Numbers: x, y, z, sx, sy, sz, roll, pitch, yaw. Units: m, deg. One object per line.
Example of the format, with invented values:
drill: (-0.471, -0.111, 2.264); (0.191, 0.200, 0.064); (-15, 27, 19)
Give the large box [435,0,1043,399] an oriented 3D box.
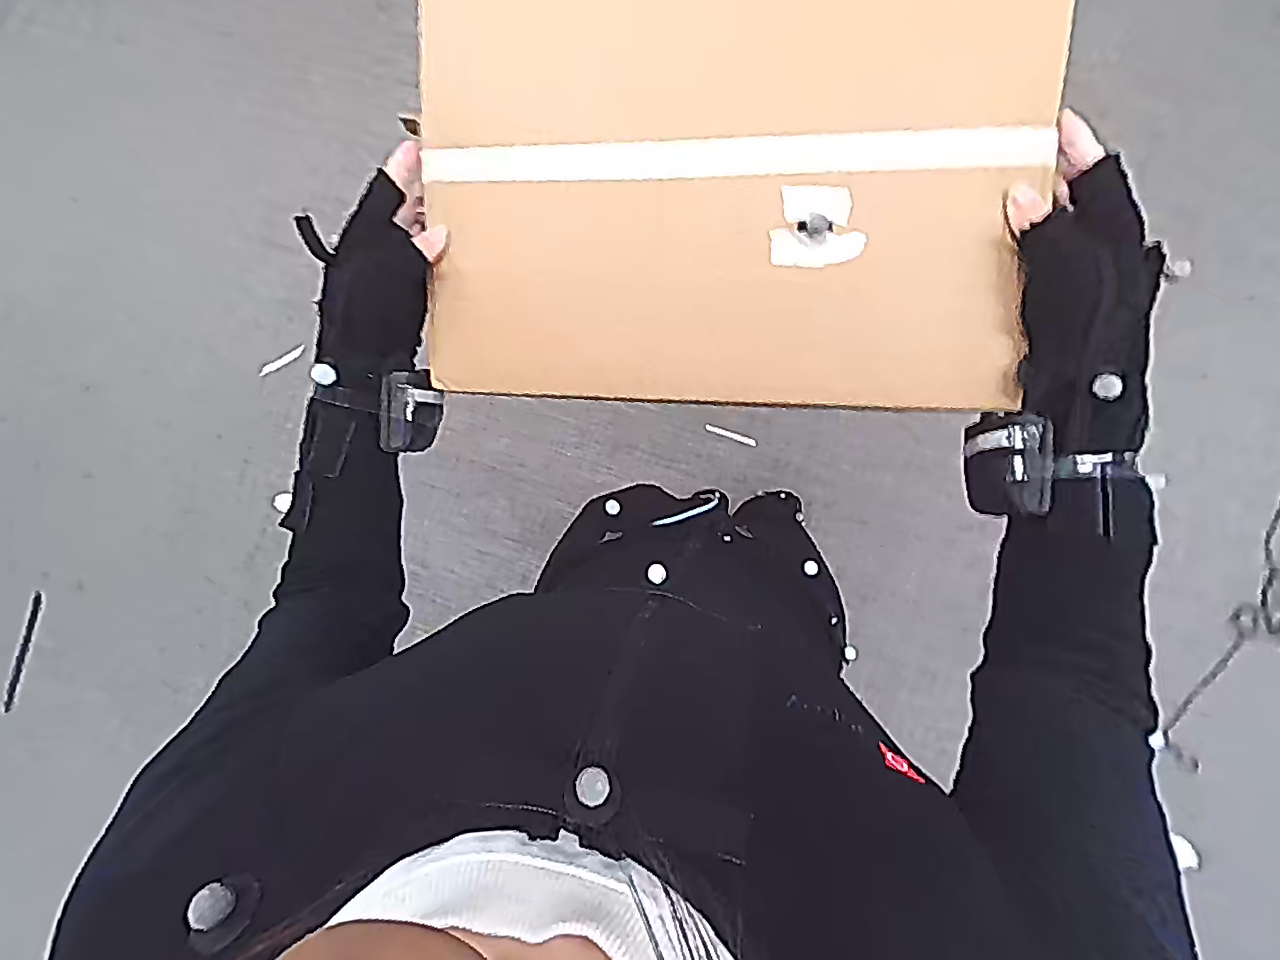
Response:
large box: (0.068, -0.237, 0.516); (0.408, 0.320, 0.320); (2, 99, 7)
